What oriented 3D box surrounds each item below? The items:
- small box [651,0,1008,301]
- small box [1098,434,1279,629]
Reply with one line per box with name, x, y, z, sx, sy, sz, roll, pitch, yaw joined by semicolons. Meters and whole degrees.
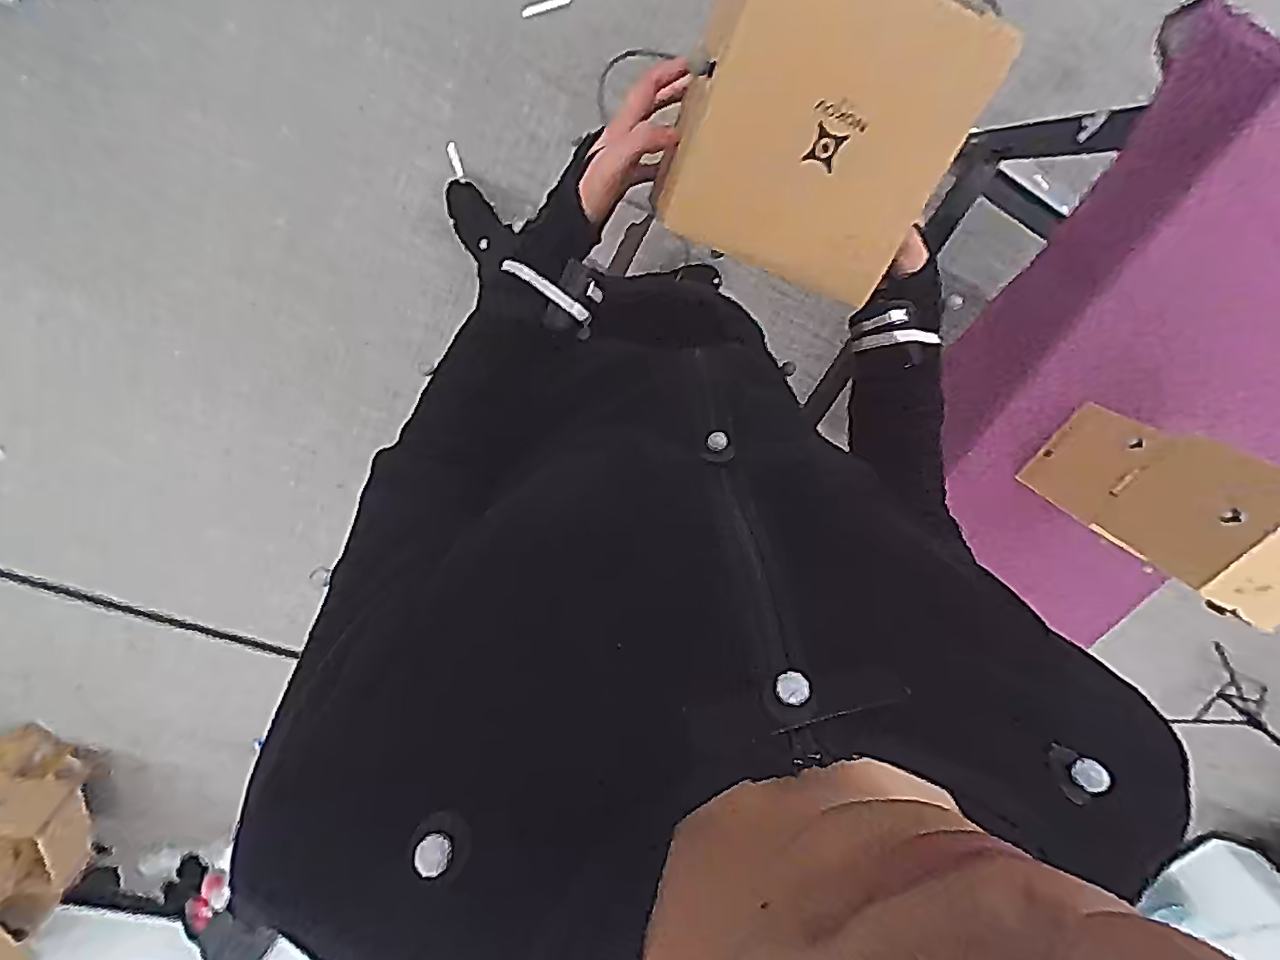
small box;0.113;-0.268;0.412;0.168;0.176;0.179;16;122;-12
small box;0.803;0.064;0.742;0.168;0.176;0.179;25;113;-16
